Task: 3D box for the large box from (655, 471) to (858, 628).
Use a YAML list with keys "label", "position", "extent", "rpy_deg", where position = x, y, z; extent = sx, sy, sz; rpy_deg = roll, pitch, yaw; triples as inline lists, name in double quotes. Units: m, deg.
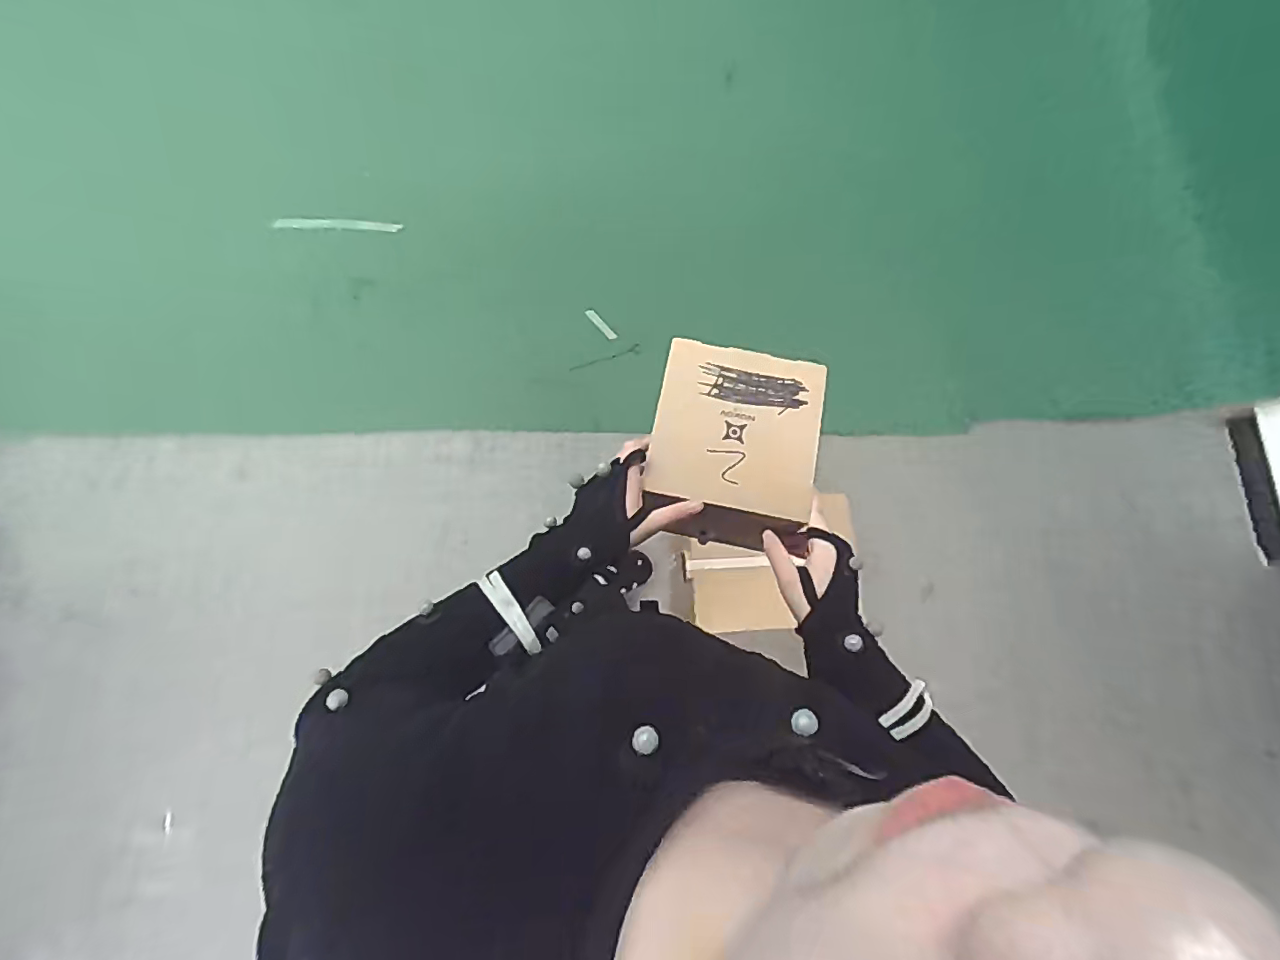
- label: "large box"
  position: [0.277, 0.188, 1.411]
  extent: [0.408, 0.320, 0.320]
  rpy_deg: [-8, 79, -8]
